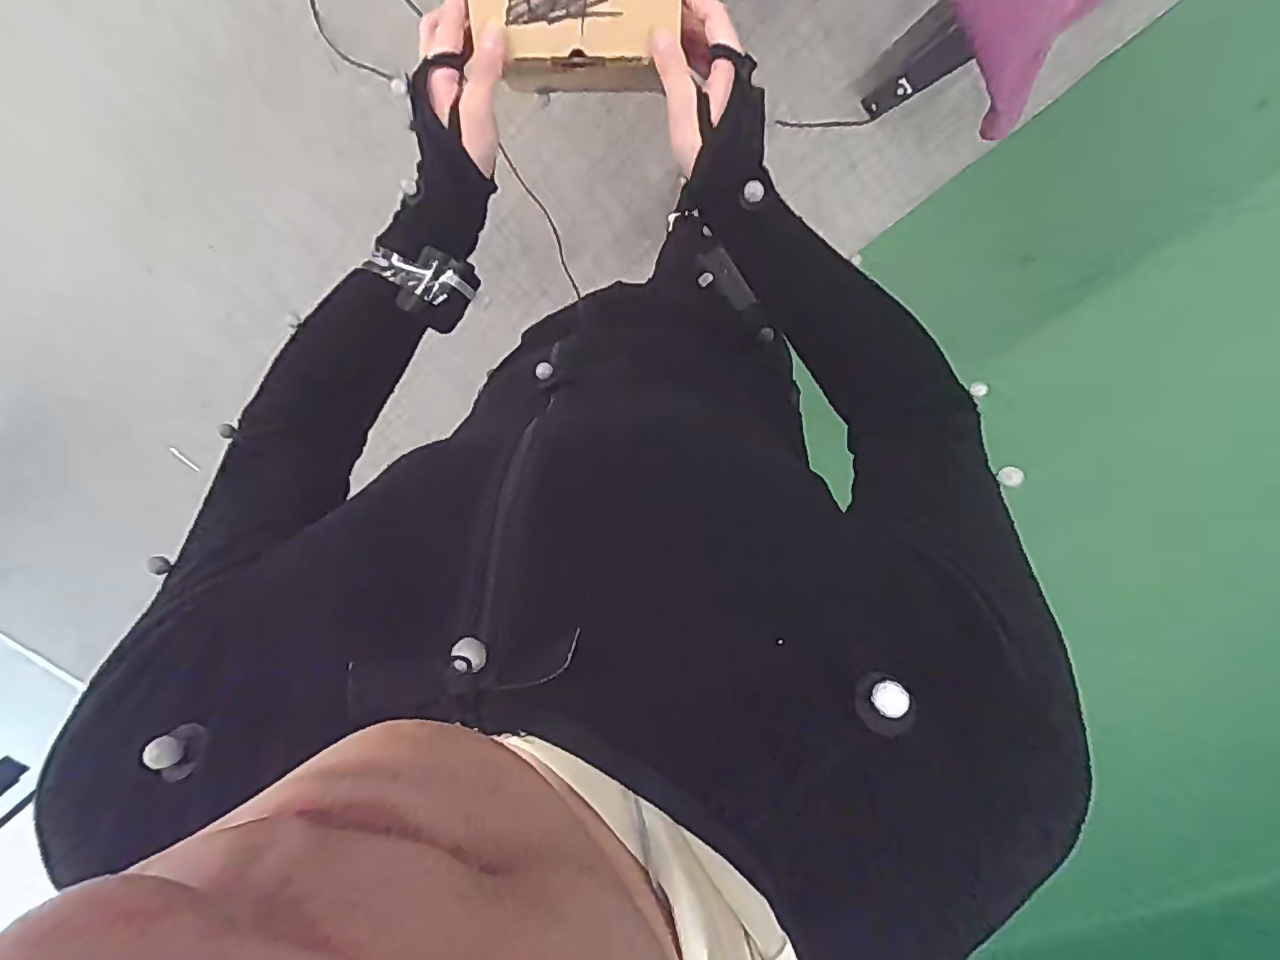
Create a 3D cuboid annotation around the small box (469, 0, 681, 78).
[{"bbox_3d":[-0.047,-0.455,0.453,0.168,0.176,0.179,0,119,0],"label":"small box"}]
